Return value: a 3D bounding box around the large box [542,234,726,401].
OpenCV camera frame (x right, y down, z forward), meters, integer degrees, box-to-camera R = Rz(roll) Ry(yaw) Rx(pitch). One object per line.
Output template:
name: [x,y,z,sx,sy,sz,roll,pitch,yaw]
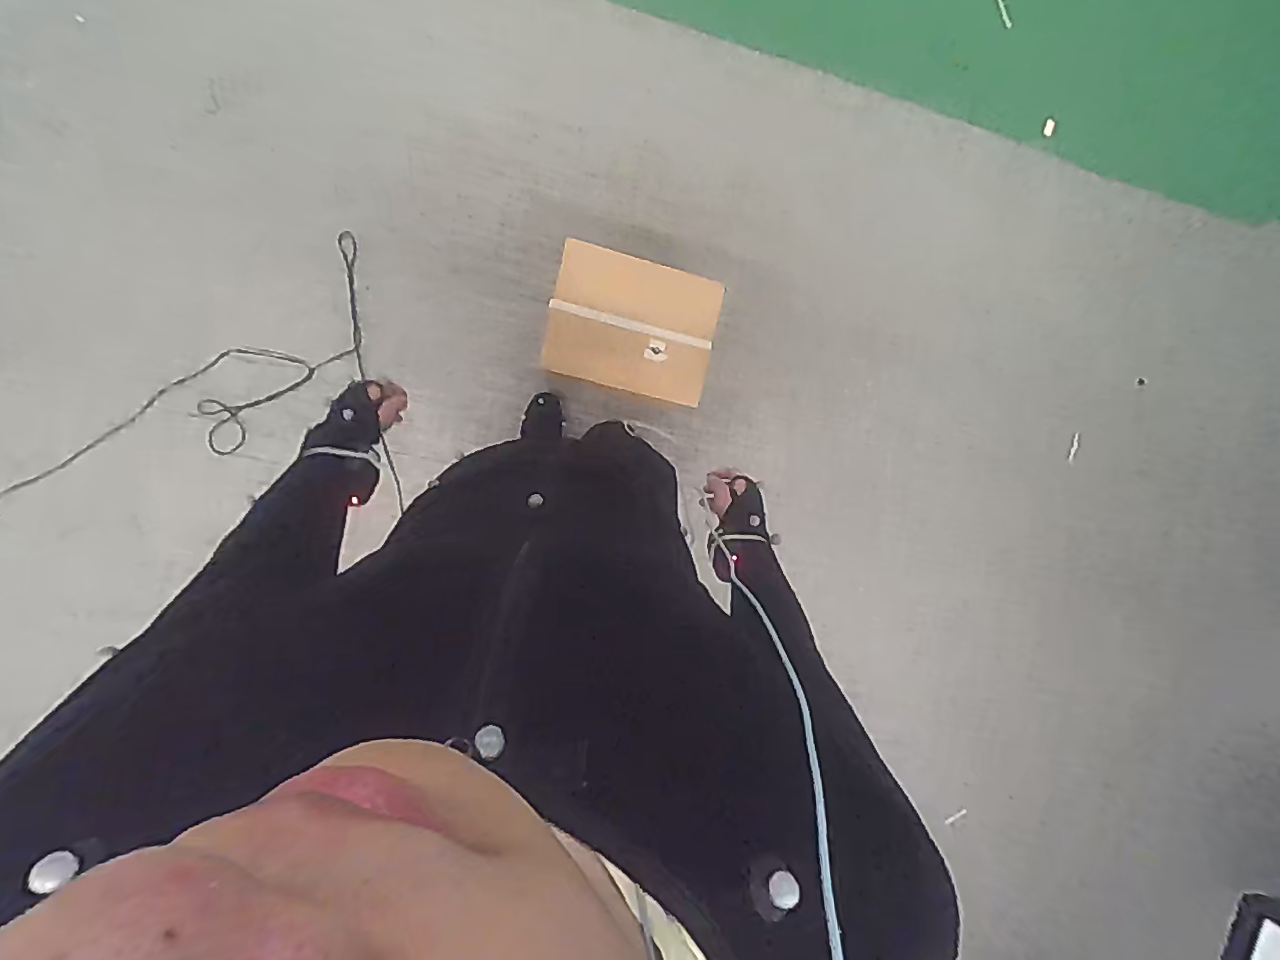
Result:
large box: [-0.037,-0.406,1.448,0.408,0.320,0.320,12,96,-11]
